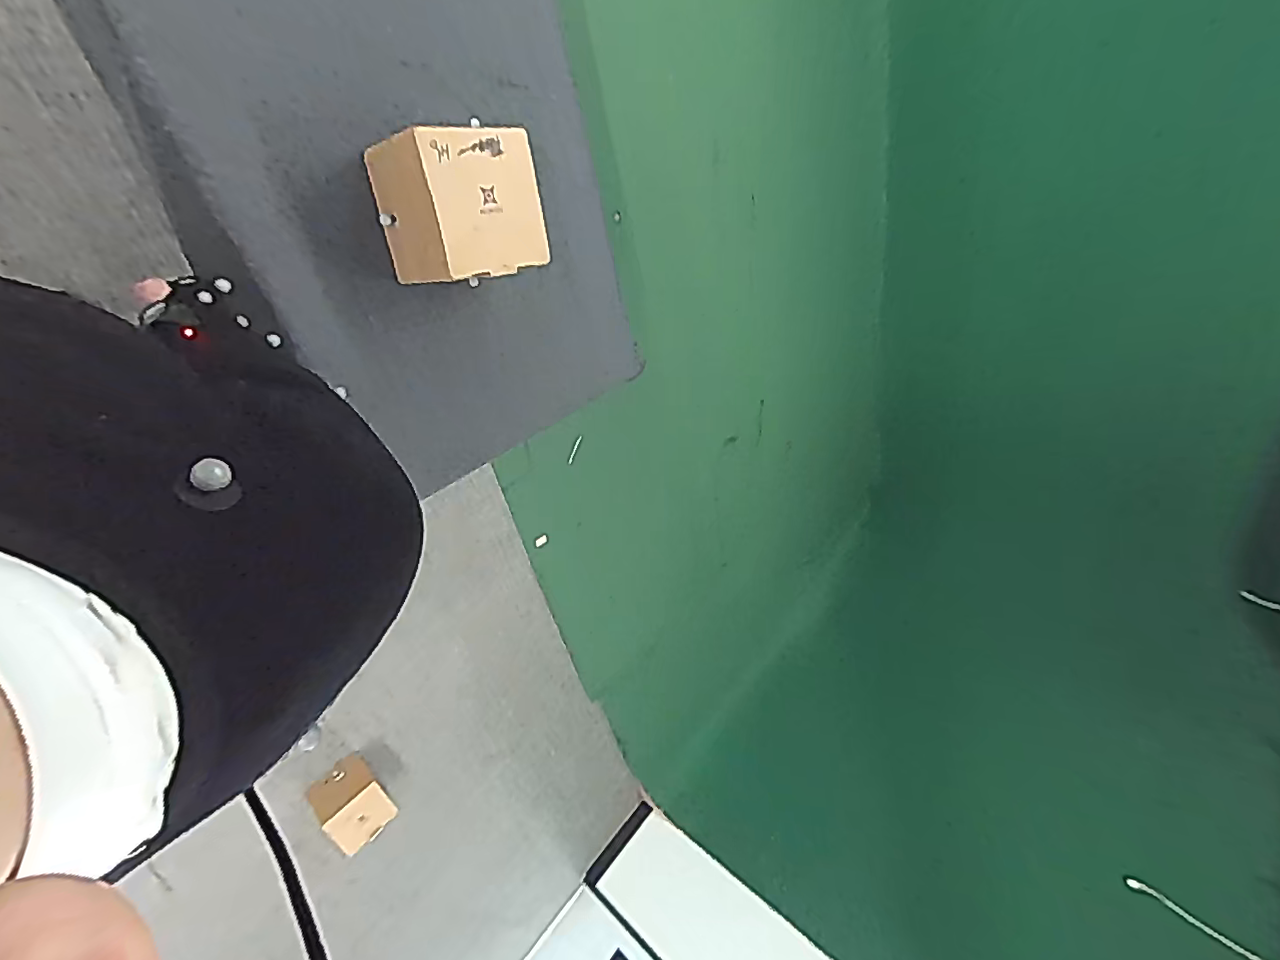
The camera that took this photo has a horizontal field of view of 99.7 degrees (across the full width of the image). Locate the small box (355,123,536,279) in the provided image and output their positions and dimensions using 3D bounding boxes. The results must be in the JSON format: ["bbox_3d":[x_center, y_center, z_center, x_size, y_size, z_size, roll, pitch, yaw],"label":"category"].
[{"bbox_3d":[-0.276,-0.393,0.776,0.168,0.176,0.179,-29,124,-38],"label":"small box"}]

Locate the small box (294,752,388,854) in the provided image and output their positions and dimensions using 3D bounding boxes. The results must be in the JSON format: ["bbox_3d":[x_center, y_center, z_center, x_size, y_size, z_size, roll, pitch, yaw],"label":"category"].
[{"bbox_3d":[-0.910,0.972,1.644,0.168,0.176,0.179,-37,128,-37],"label":"small box"}]
